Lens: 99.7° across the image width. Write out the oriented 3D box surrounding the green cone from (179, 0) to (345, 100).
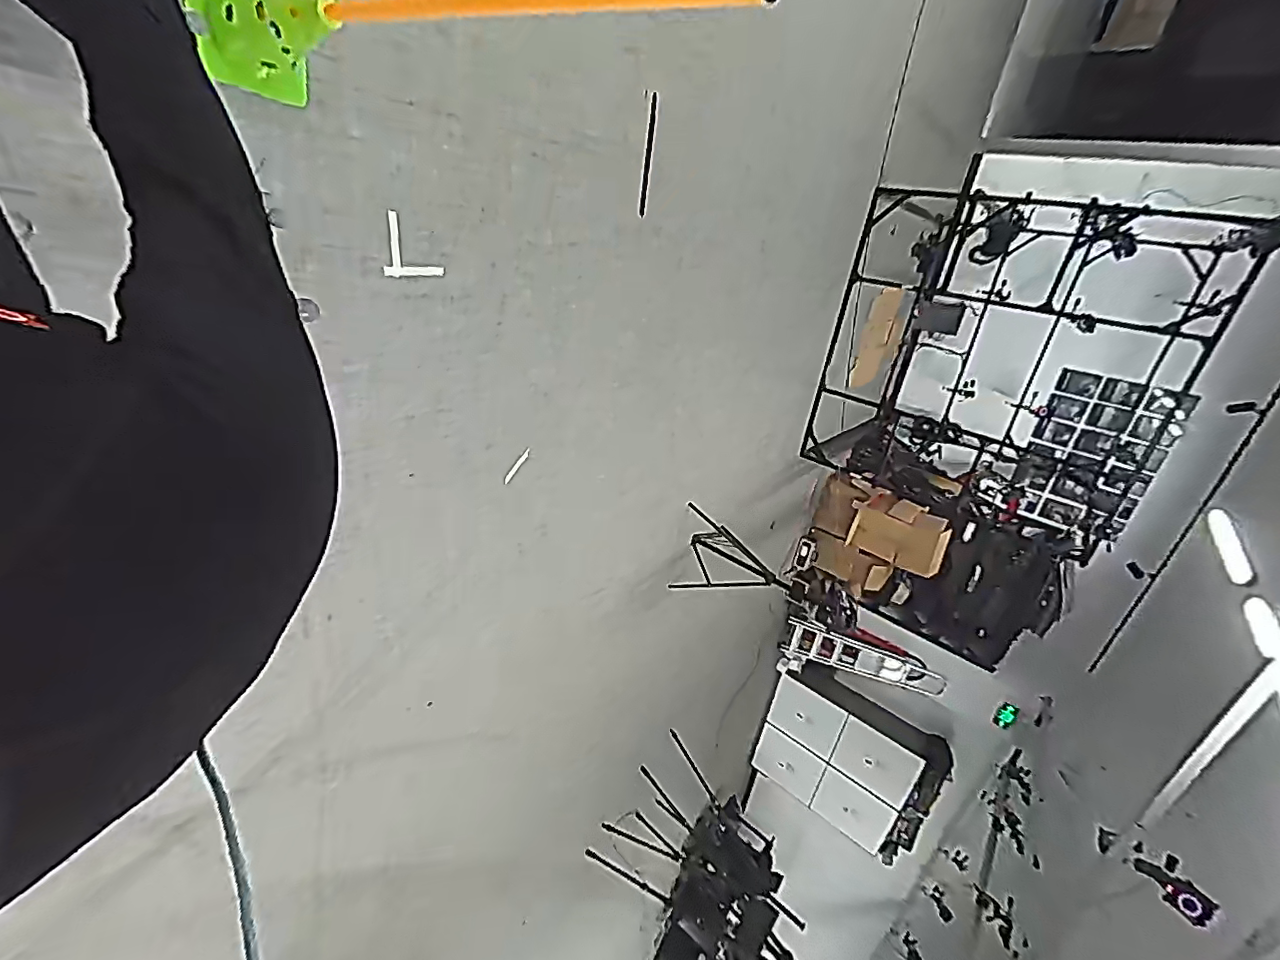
[{"bbox_3d":[-0.638,-0.820,0.961,0.202,0.368,0.200,-18,126,-51],"label":"green cone"}]
